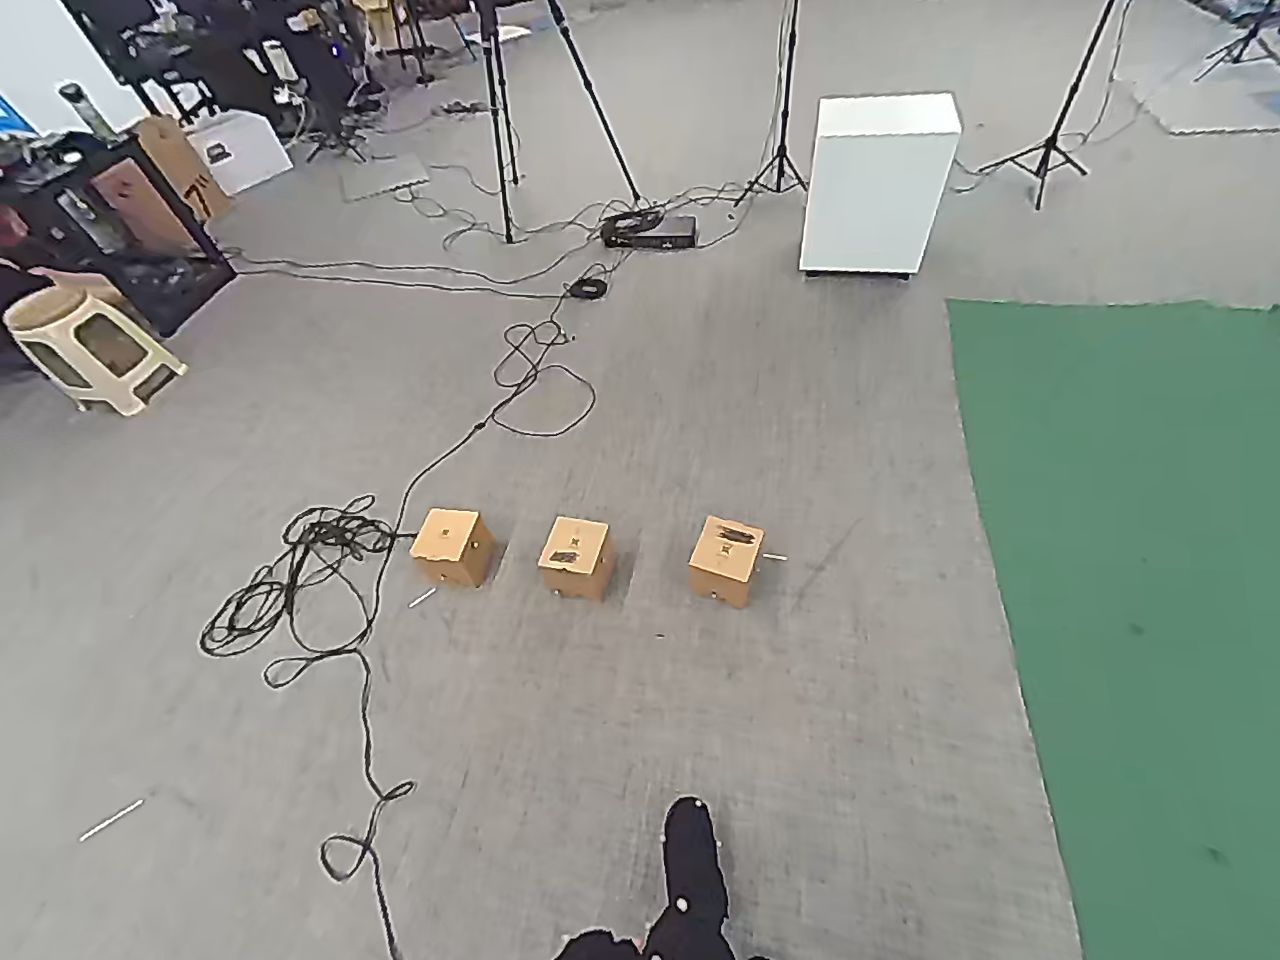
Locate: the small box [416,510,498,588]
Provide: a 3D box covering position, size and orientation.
[{"bbox_3d":[-0.564,0.217,1.696,0.168,0.176,0.179,4,53,12],"label":"small box"}]

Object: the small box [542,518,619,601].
[{"bbox_3d":[-0.169,0.241,1.617,0.168,0.176,0.179,8,52,15],"label":"small box"}]
